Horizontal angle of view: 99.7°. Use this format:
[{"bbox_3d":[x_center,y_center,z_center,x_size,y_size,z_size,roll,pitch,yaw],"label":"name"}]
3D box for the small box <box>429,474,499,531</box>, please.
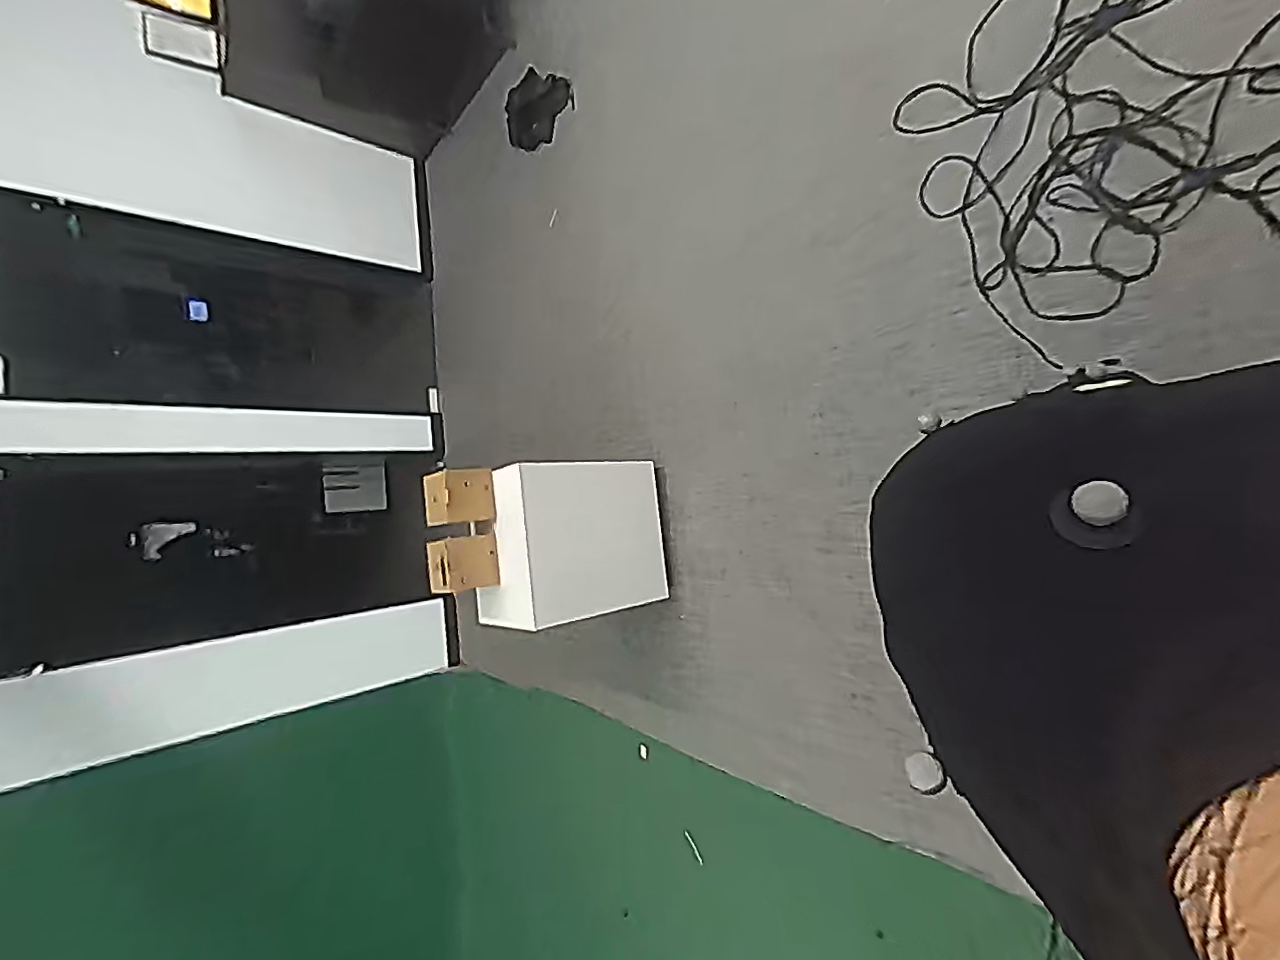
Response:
[{"bbox_3d":[-0.575,0.073,1.782,0.179,0.176,0.168,-12,83,49],"label":"small box"}]
